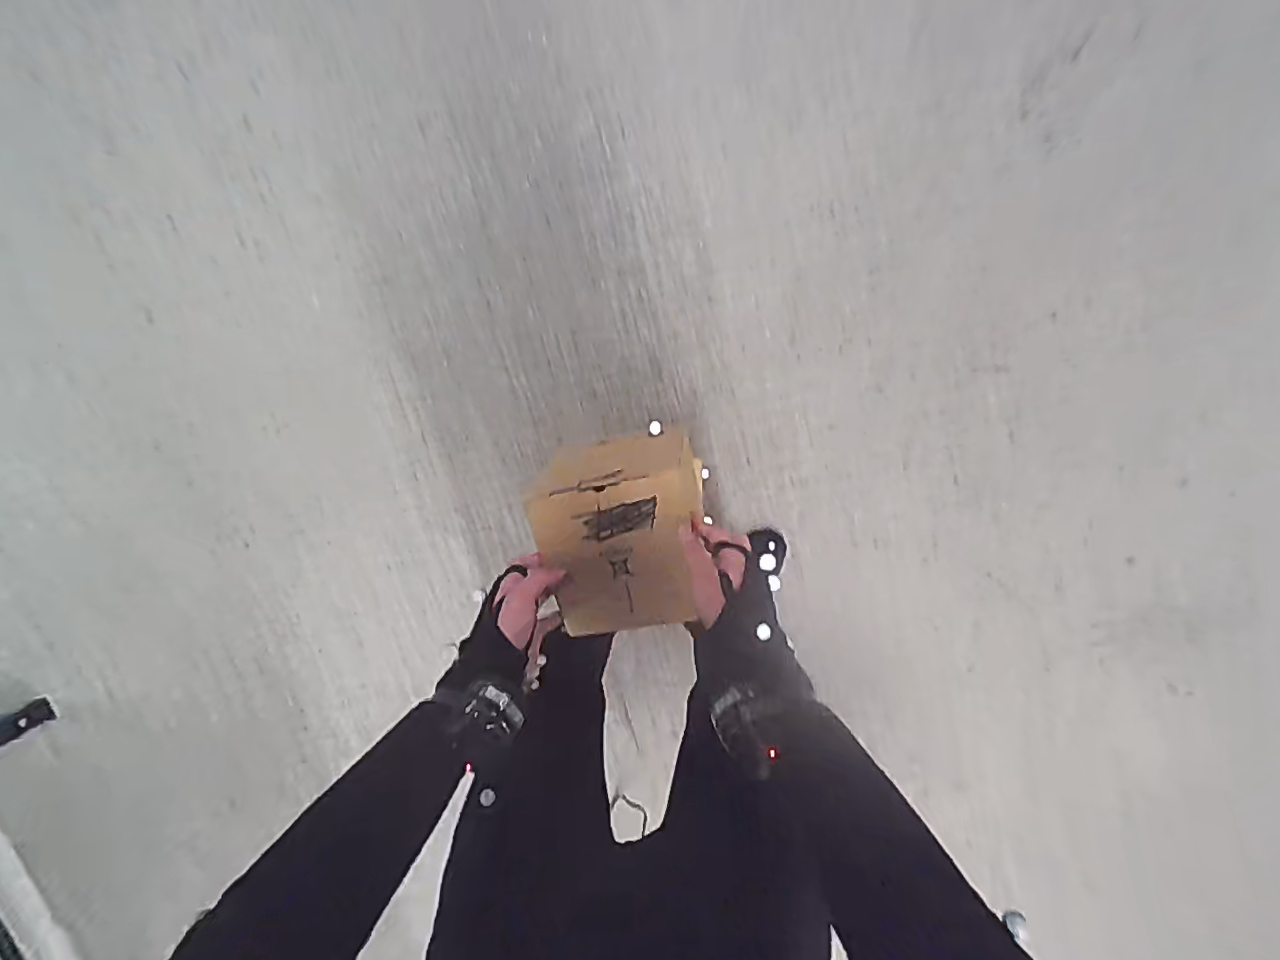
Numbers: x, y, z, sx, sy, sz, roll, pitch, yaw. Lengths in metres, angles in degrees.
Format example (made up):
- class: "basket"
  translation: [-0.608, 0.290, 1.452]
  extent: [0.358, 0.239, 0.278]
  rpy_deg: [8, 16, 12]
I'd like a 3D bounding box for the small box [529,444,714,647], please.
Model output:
- class: "small box"
  translation: [-0.010, 0.067, 0.641]
  extent: [0.168, 0.176, 0.179]
  rpy_deg: [-11, 111, 11]
